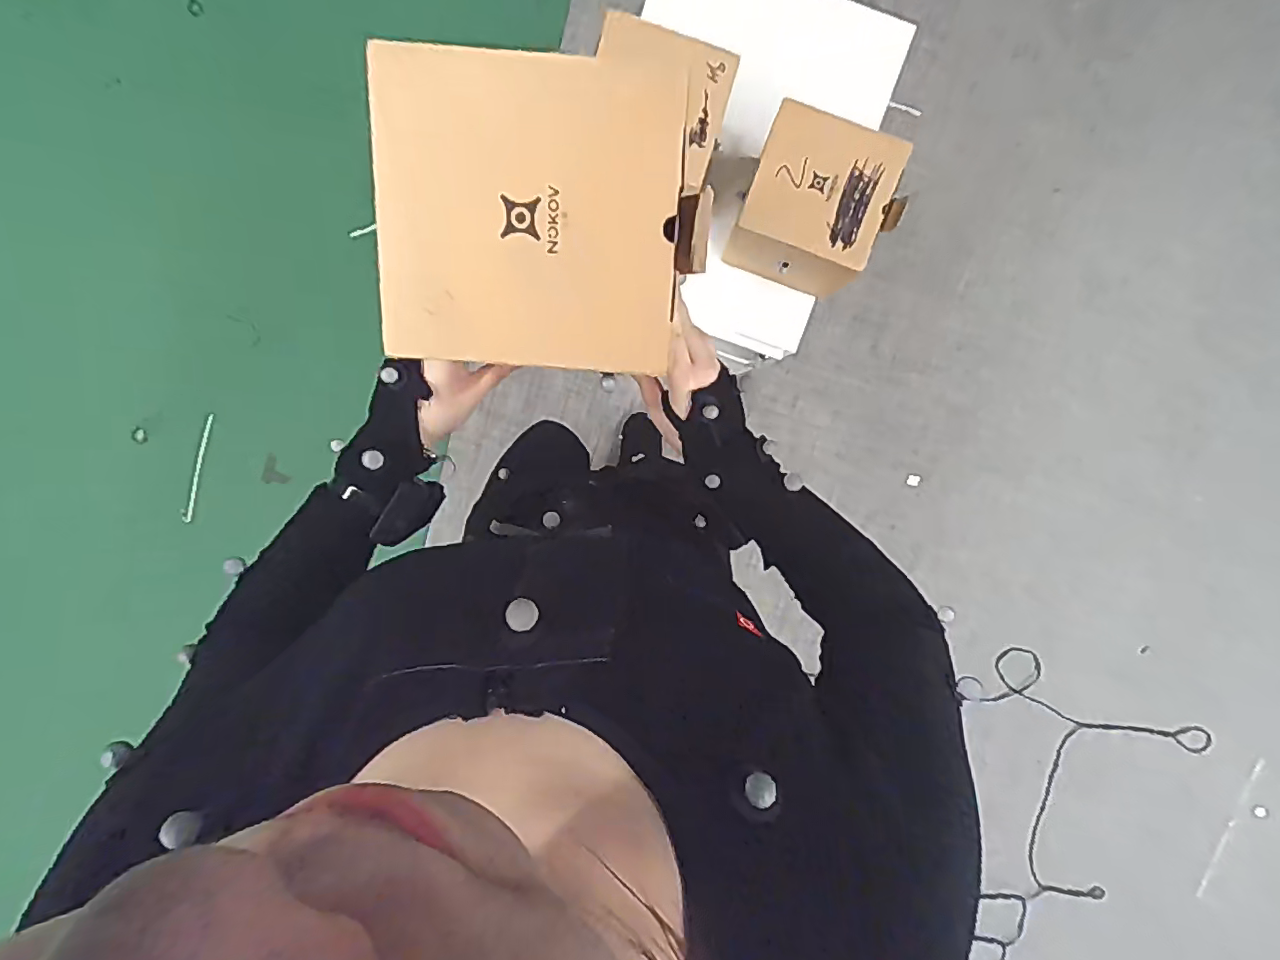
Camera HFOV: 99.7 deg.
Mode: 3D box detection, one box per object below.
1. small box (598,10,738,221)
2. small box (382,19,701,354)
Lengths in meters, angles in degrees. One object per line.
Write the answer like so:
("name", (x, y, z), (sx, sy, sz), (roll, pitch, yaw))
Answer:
("small box", (0.014, -0.484, 0.754), (0.179, 0.176, 0.168), (18, 97, -3))
("small box", (-0.060, -0.181, 0.387), (0.179, 0.176, 0.168), (4, 104, -2))
